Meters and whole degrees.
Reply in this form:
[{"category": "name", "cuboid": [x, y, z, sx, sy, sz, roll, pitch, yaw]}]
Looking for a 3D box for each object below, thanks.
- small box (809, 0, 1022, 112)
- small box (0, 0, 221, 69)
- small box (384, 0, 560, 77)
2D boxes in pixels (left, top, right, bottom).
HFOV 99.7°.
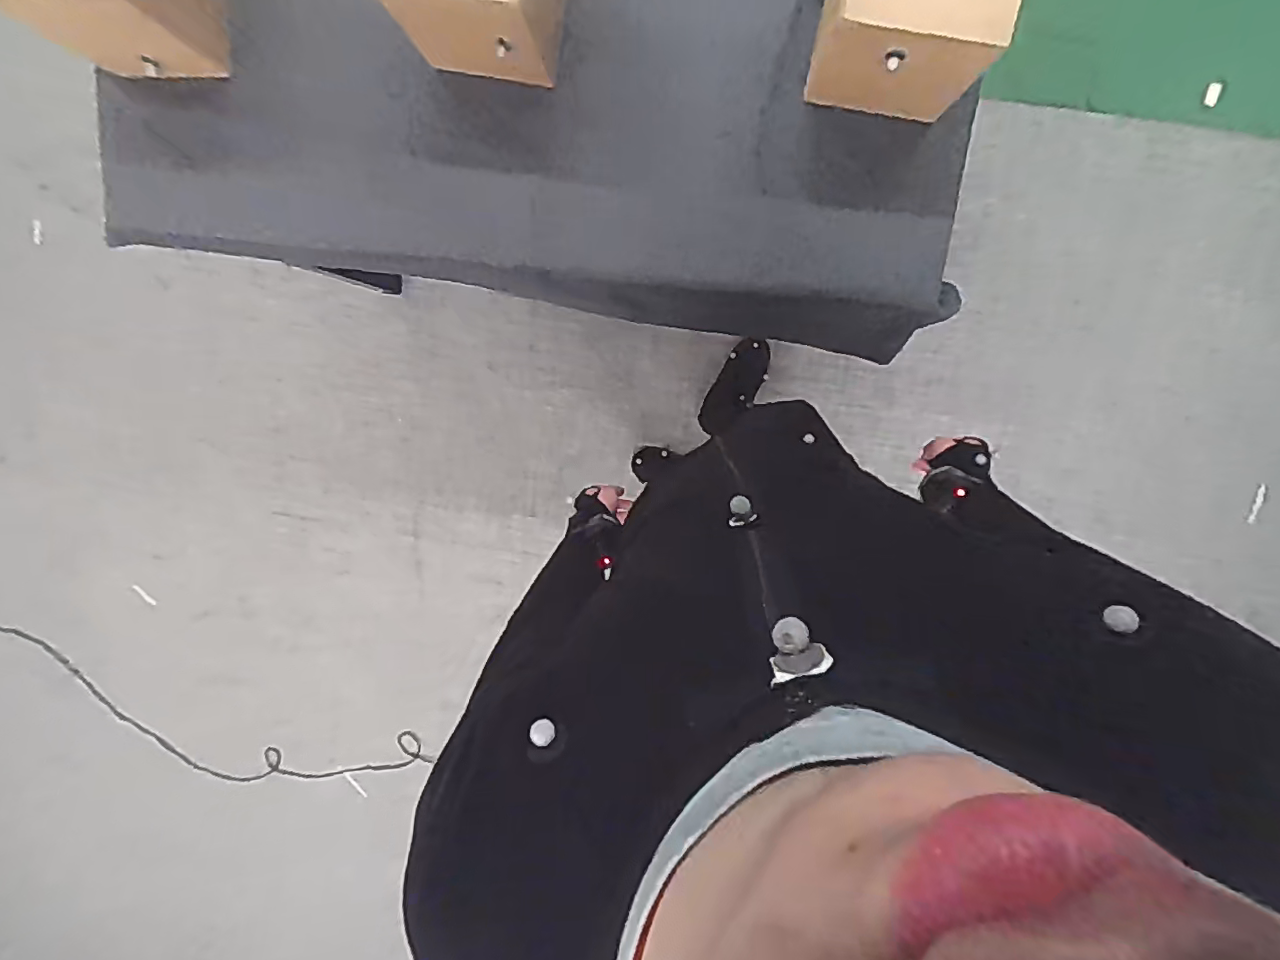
[{"category": "small box", "cuboid": [0.306, -0.548, 0.605, 0.179, 0.176, 0.168, 11, 101, 1]}, {"category": "small box", "cuboid": [-0.651, -0.635, 0.655, 0.179, 0.176, 0.168, 2, 100, 2]}, {"category": "small box", "cuboid": [-0.190, -0.612, 0.631, 0.179, 0.176, 0.168, 11, 100, 3]}]
